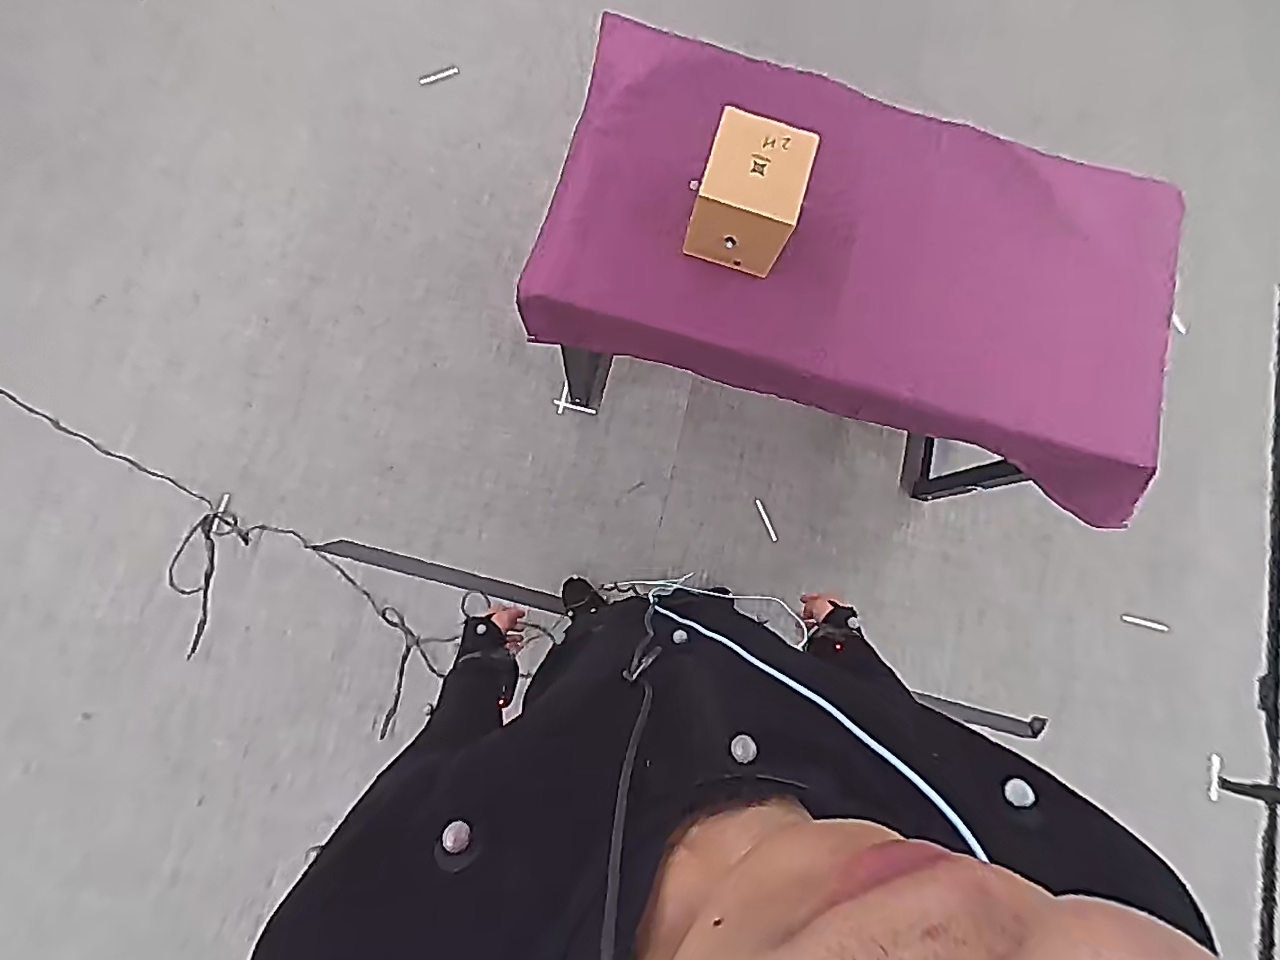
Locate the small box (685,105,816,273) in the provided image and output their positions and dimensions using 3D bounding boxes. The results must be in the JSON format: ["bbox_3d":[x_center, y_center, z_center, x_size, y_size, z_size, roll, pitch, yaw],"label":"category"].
[{"bbox_3d":[0.185,-0.500,0.956,0.168,0.176,0.179,17,80,-2],"label":"small box"}]
